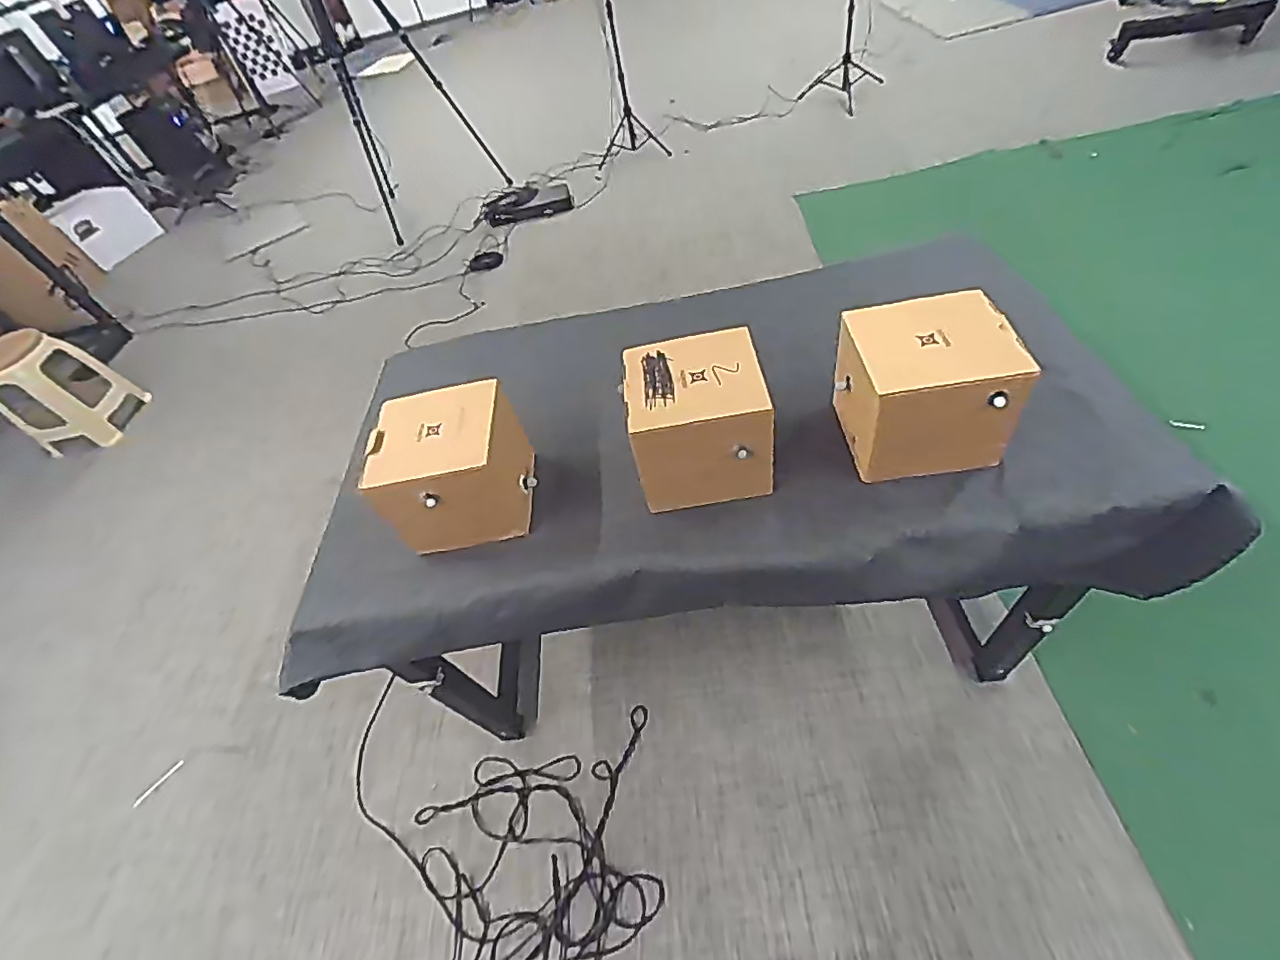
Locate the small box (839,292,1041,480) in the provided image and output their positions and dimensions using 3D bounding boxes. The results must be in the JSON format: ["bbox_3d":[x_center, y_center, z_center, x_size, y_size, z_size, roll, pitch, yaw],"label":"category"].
[{"bbox_3d":[0.369,-0.116,0.710,0.179,0.176,0.168,-8,50,8],"label":"small box"}]

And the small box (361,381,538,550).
[{"bbox_3d":[-0.261,-0.015,0.786,0.179,0.176,0.168,-10,51,4],"label":"small box"}]
